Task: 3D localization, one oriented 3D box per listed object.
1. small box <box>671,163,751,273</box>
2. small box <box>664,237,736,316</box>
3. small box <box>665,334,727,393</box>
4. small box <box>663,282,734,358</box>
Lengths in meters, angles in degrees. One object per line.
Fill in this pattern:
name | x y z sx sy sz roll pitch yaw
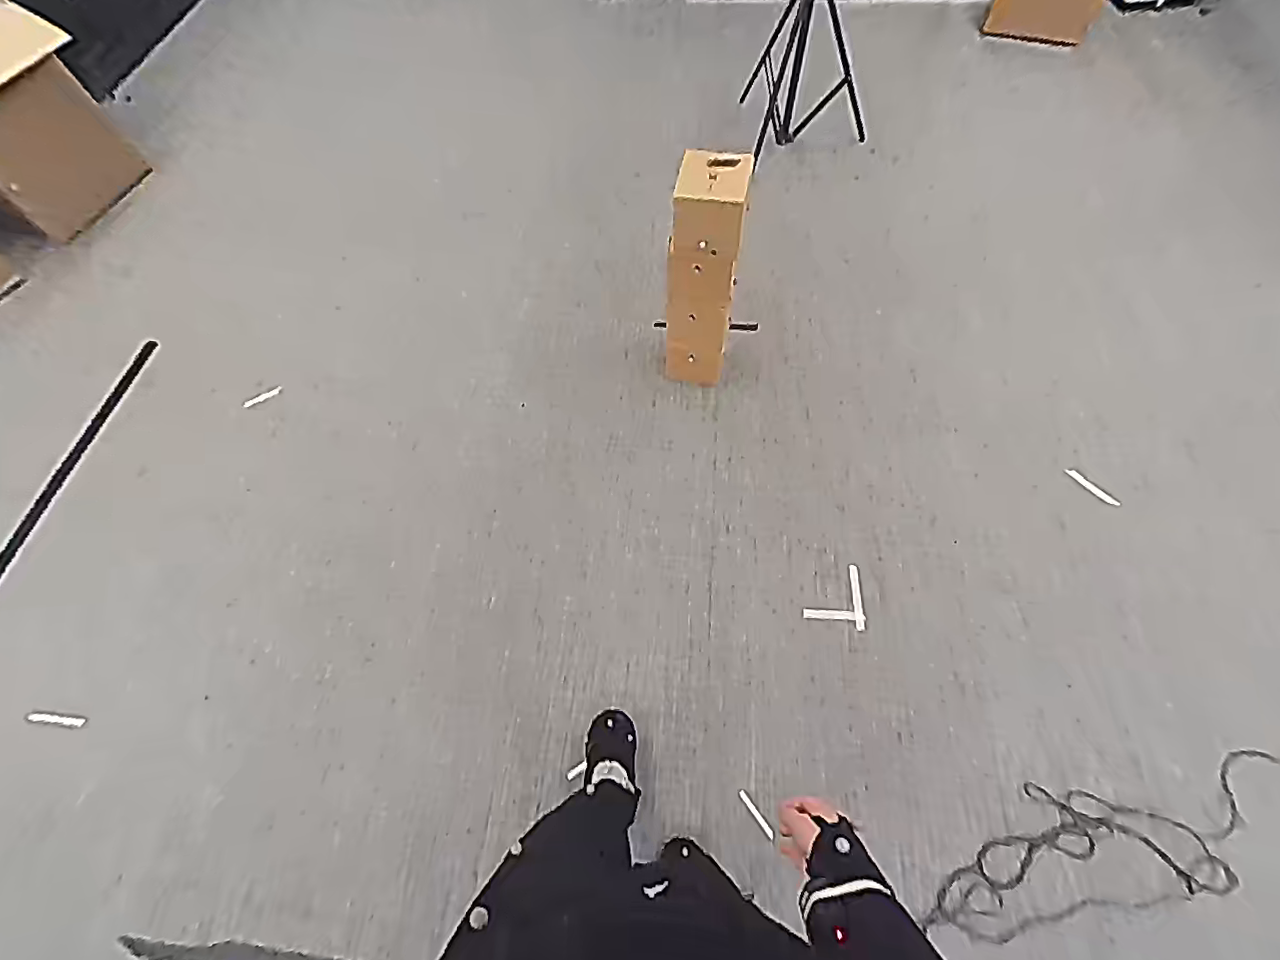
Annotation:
small box | 0.171 -0.647 1.337 0.168 0.176 0.179 10 64 9
small box | 0.167 -0.574 1.485 0.179 0.176 0.168 10 64 8
small box | 0.181 -0.404 1.764 0.179 0.176 0.168 10 63 8
small box | 0.174 -0.490 1.623 0.179 0.176 0.168 13 64 10
